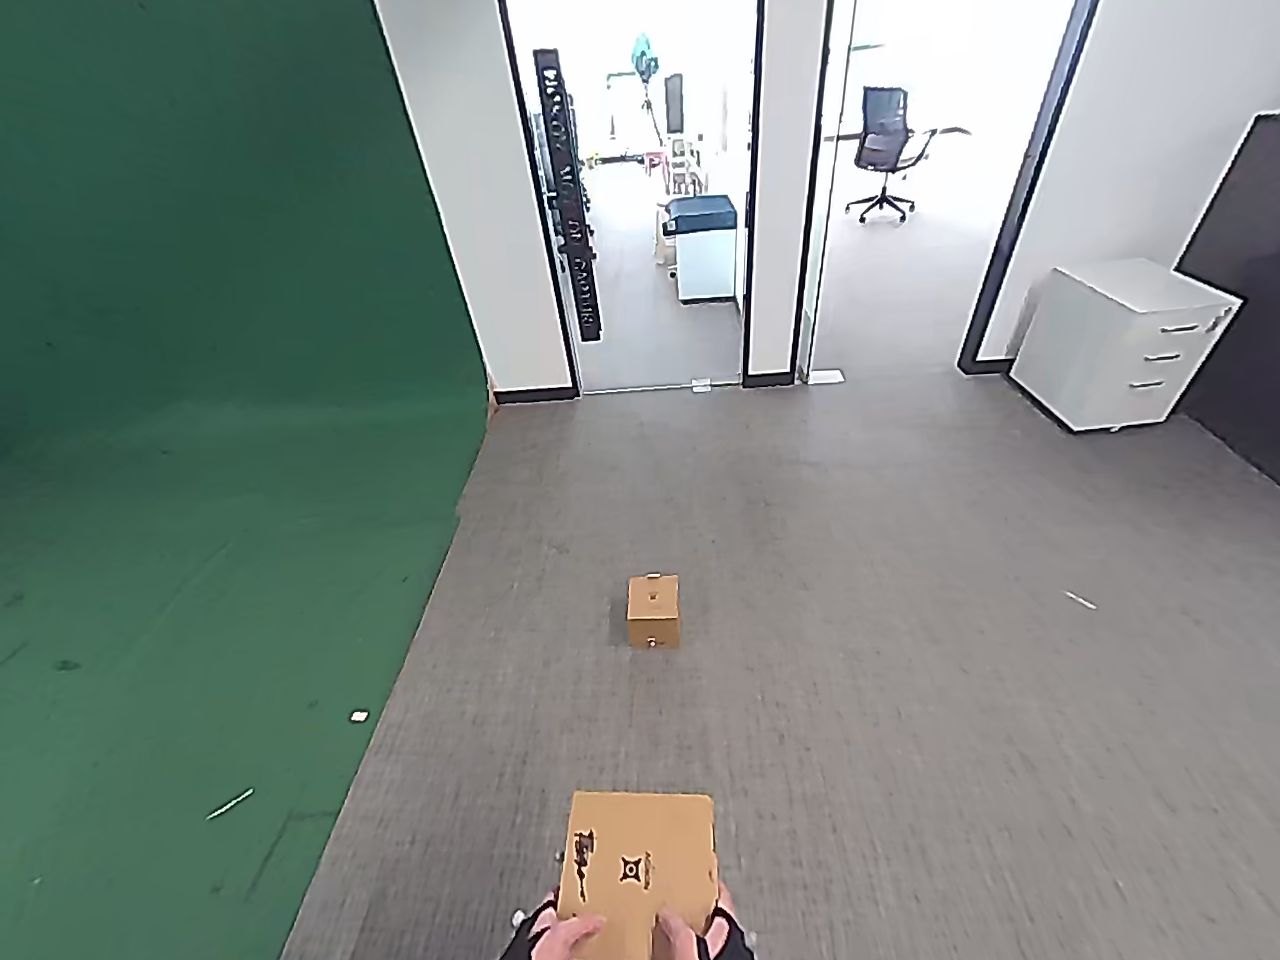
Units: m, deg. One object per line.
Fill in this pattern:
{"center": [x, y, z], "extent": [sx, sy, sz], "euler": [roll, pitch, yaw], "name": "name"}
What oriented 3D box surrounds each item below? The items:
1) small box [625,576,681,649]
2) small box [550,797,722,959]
{"center": [0.048, 0.441, 1.812], "extent": [0.168, 0.176, 0.179], "euler": [-3, 40, 8], "name": "small box"}
{"center": [0.001, 0.510, 0.651], "extent": [0.179, 0.176, 0.168], "euler": [1, 36, 4], "name": "small box"}
